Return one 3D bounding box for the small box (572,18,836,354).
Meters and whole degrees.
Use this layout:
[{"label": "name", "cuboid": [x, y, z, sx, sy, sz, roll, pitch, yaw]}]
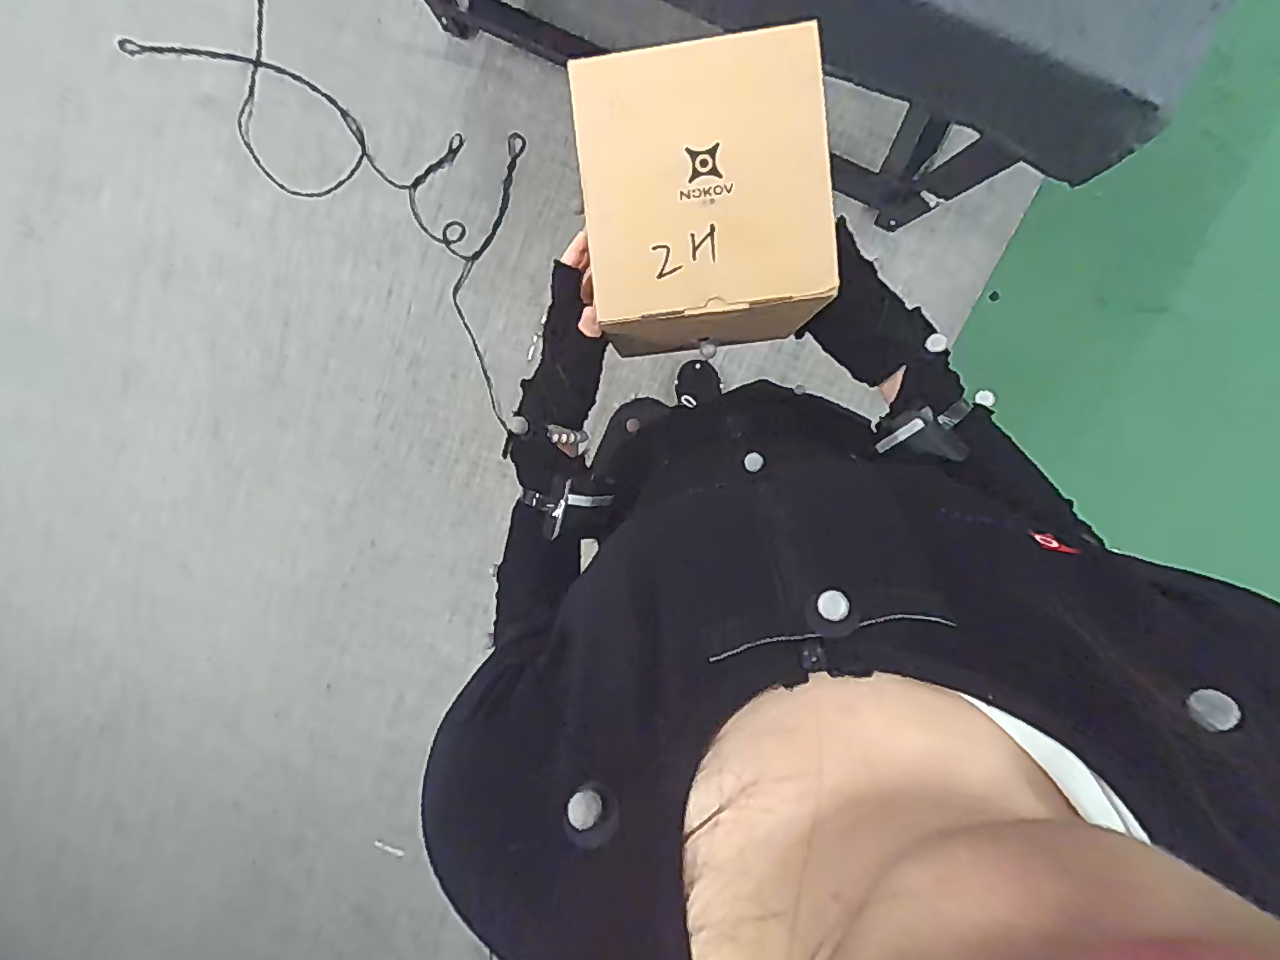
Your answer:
[{"label": "small box", "cuboid": [0.047, -0.209, 0.436, 0.168, 0.176, 0.179, -5, 94, 5]}]
